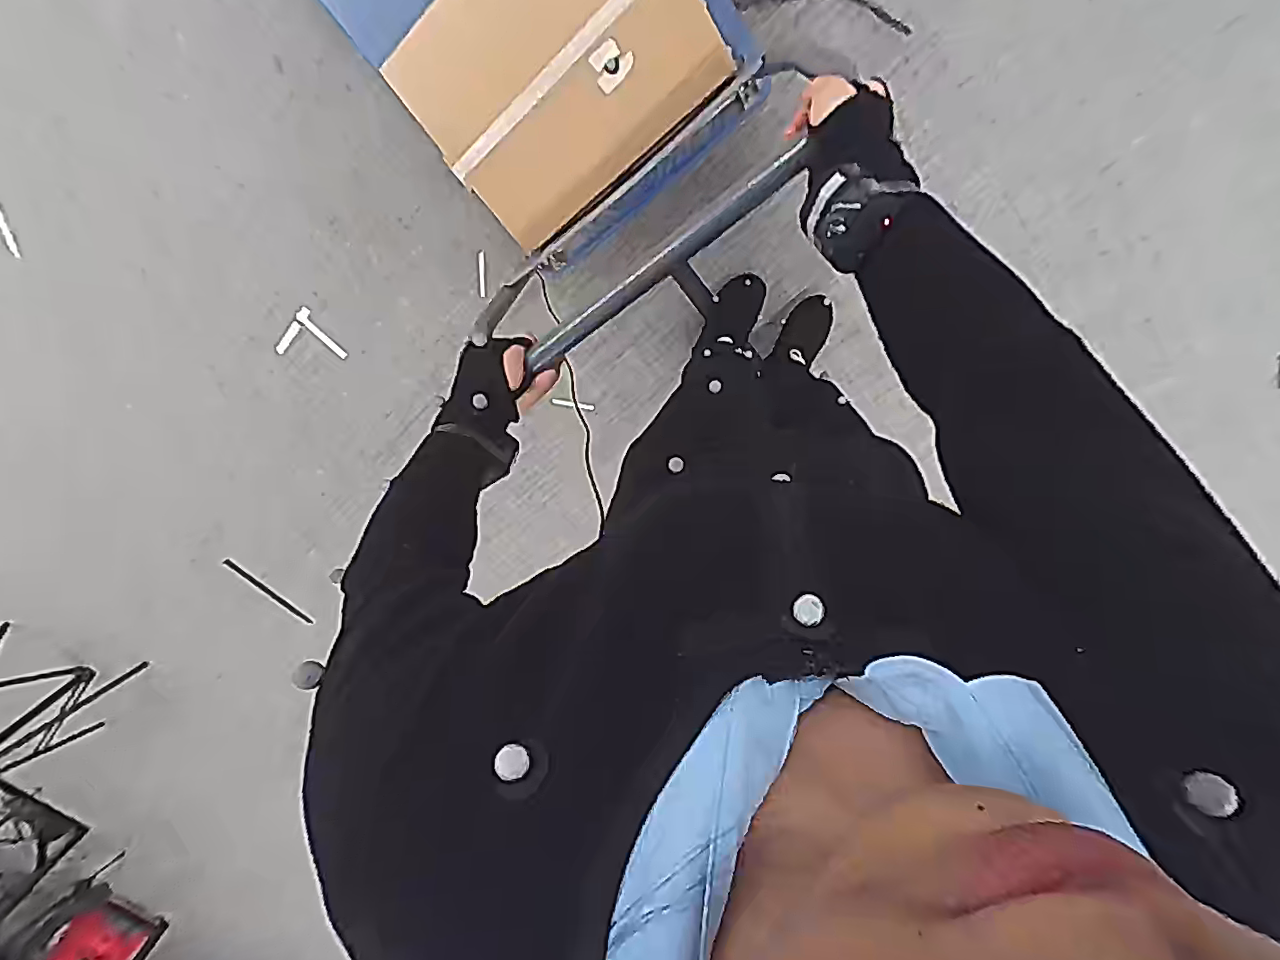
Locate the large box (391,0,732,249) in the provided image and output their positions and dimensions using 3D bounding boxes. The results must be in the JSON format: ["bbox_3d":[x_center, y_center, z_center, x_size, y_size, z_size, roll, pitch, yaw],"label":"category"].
[{"bbox_3d":[-0.109,-0.658,0.889,0.408,0.320,0.320,-33,115,21],"label":"large box"}]
